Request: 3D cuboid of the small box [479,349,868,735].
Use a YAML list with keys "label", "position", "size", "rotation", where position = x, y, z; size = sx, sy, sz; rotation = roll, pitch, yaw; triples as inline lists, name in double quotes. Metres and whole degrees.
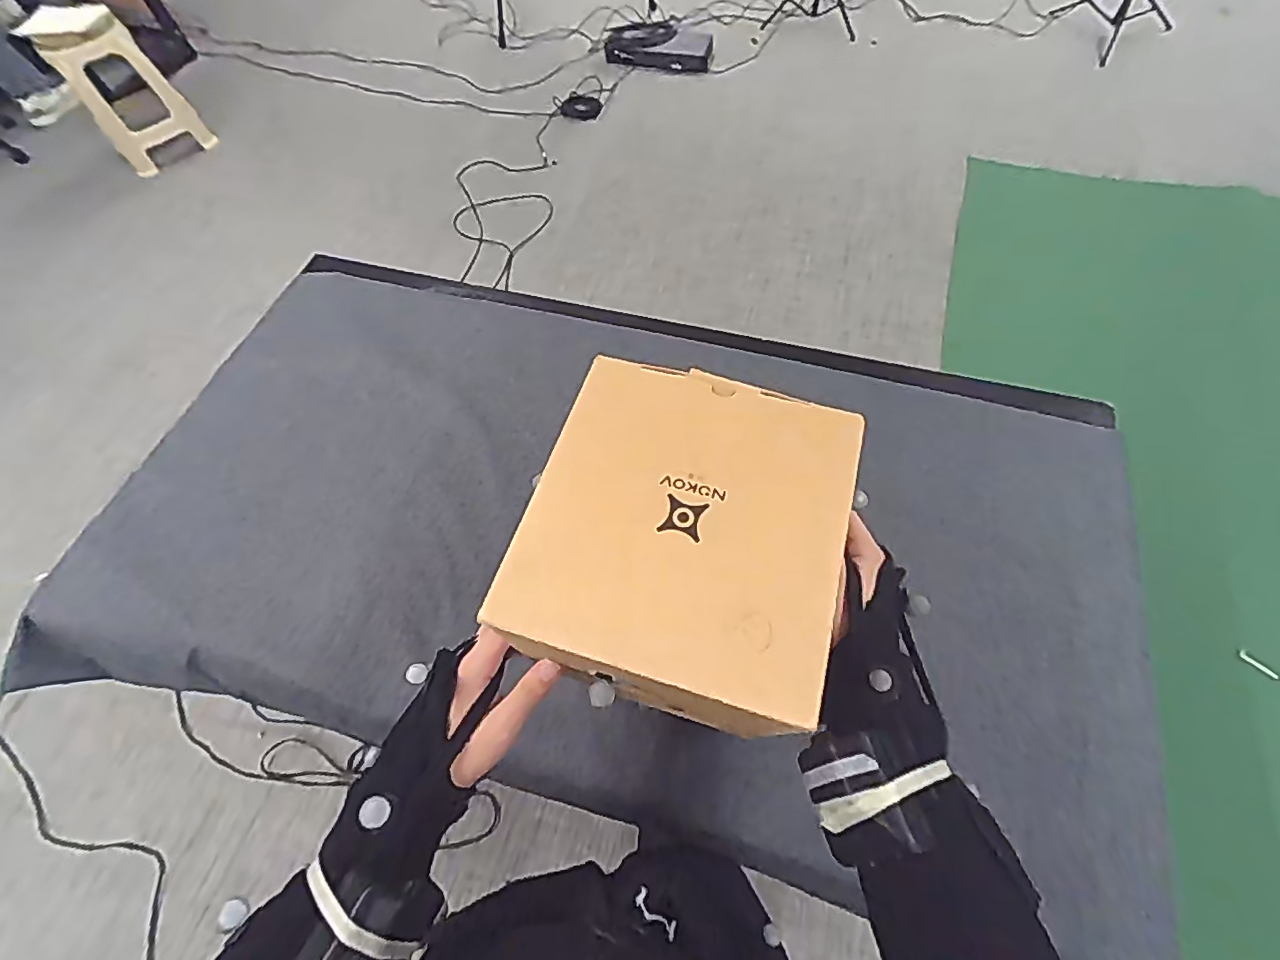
- label: "small box"
  position: [0.029, 0.049, 0.350]
  size: [0.168, 0.176, 0.179]
  rotation: [15, 63, 10]
